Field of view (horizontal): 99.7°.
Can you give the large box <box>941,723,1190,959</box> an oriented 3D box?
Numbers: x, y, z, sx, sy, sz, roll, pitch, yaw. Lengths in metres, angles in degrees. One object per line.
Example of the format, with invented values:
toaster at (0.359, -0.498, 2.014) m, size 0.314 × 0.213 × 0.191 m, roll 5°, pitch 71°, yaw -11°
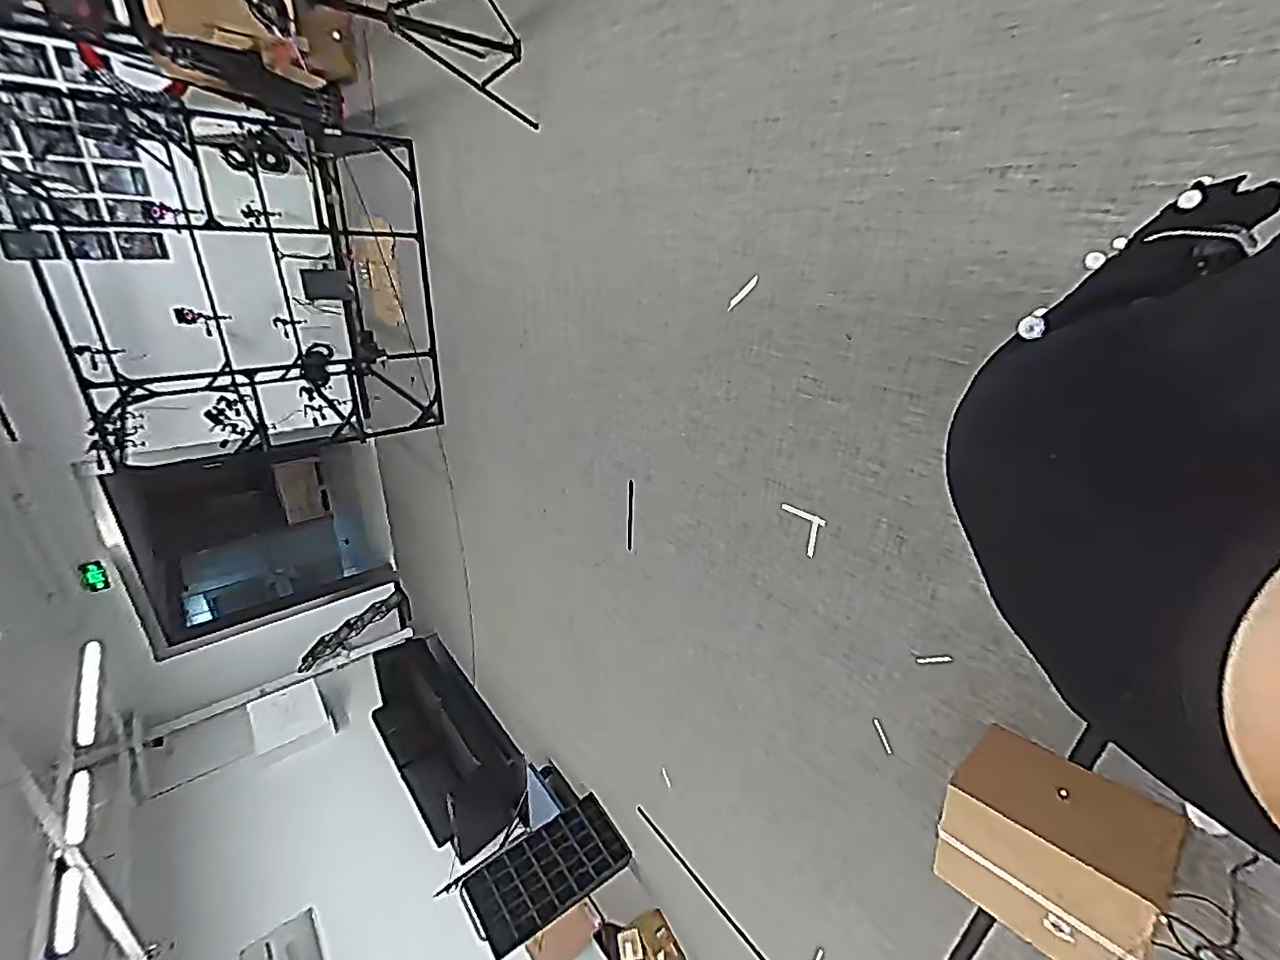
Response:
large box at (1.033, 0.896, 1.342) m, size 0.408 × 0.320 × 0.320 m, roll 17°, pitch 117°, yaw 47°
